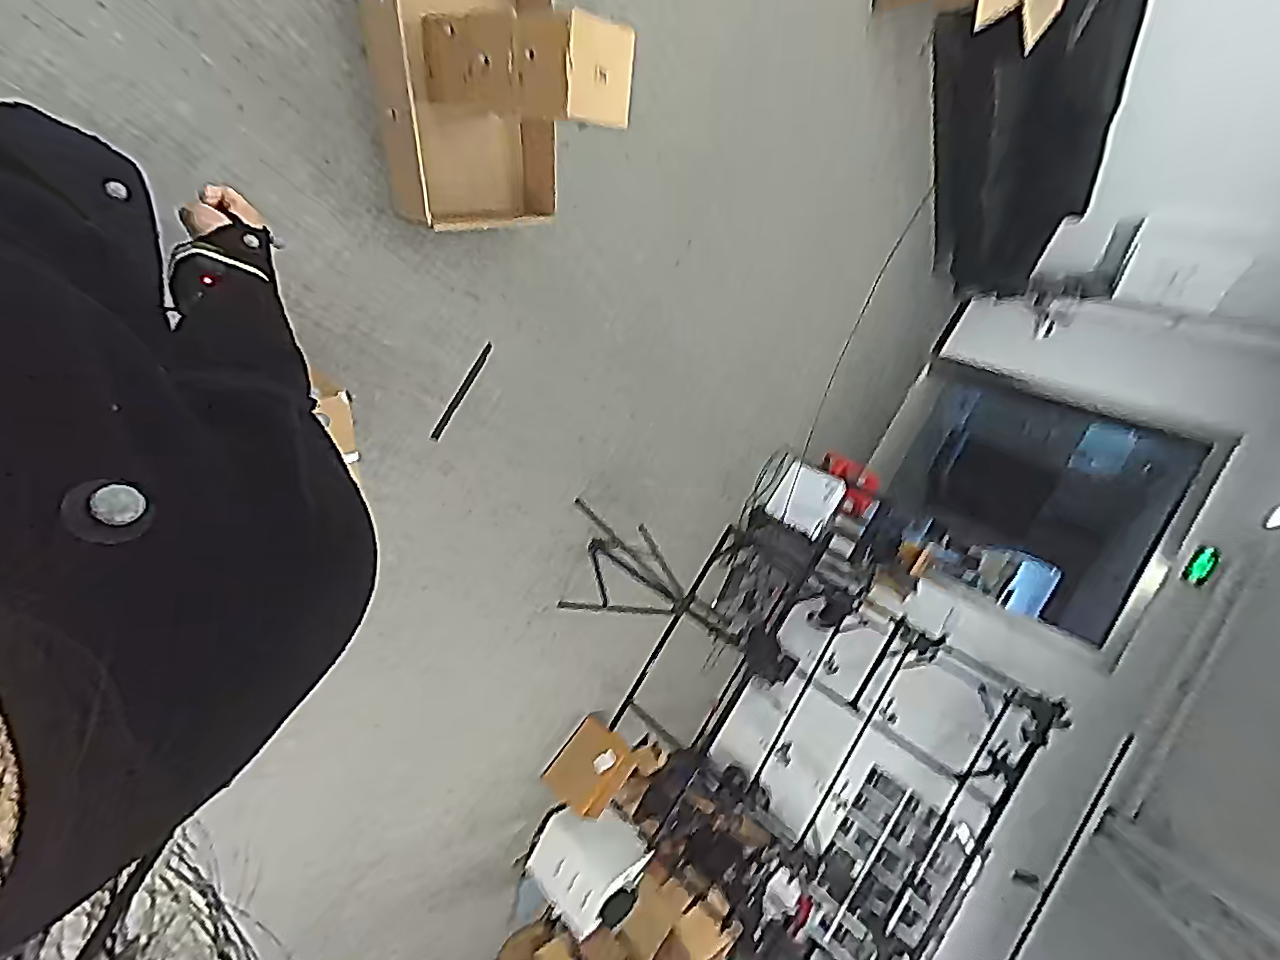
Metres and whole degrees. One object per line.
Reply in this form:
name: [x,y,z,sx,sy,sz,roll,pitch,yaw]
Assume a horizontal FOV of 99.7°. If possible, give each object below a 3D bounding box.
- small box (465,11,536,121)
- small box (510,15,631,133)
small box: [-0.270,-0.899,1.191,0.179,0.176,0.168,-24,133,-43]
small box: [-0.145,-0.830,1.112,0.179,0.176,0.168,-25,134,-43]
